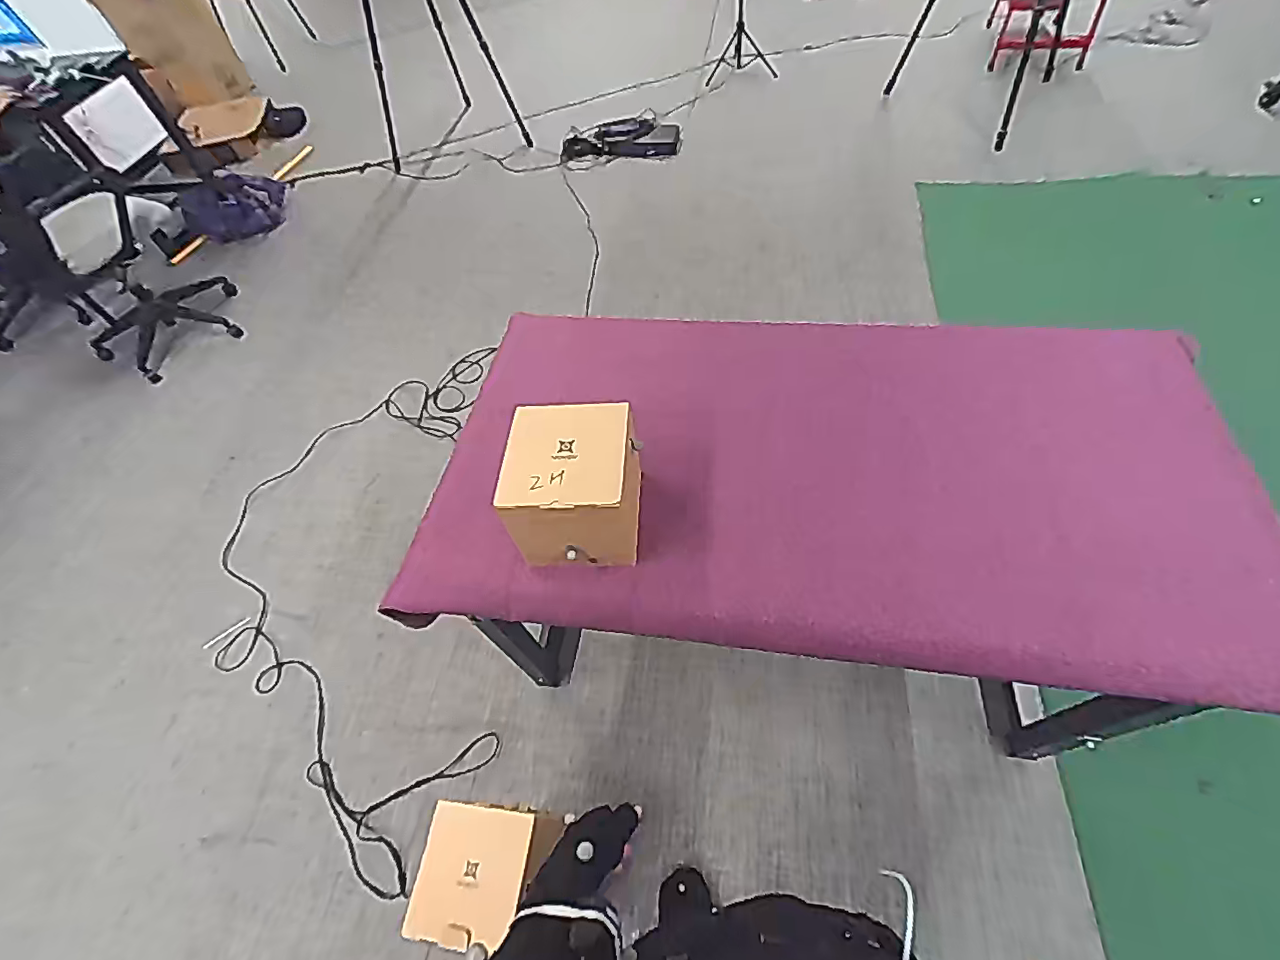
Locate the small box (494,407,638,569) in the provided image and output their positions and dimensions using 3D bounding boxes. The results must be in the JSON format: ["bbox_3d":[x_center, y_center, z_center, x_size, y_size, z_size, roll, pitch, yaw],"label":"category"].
[{"bbox_3d":[-0.094,0.012,0.790,0.168,0.176,0.179,0,54,6],"label":"small box"}]

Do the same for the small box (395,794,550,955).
[{"bbox_3d":[-0.255,0.626,0.878,0.168,0.176,0.179,4,59,10],"label":"small box"}]
